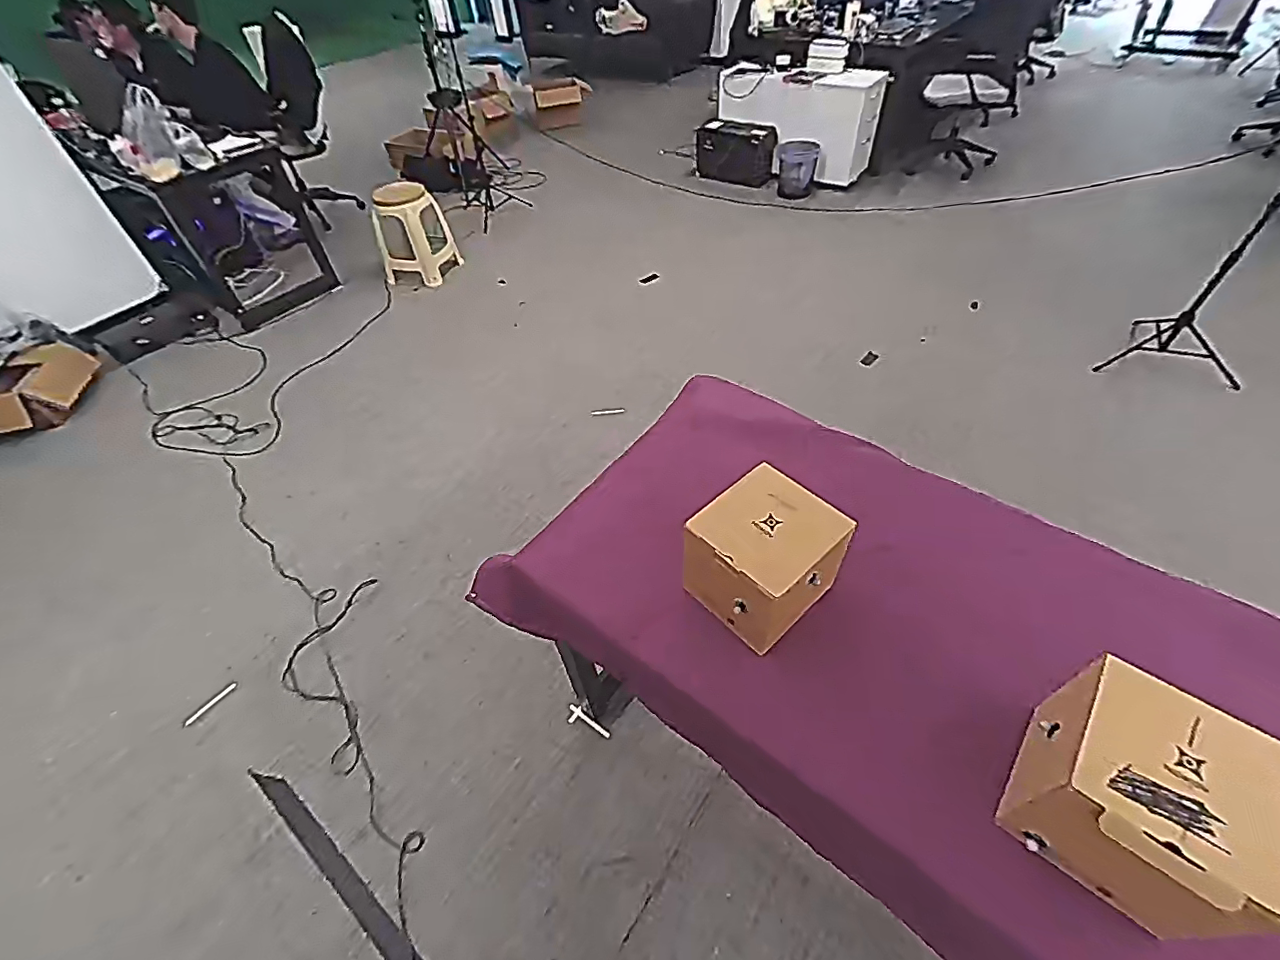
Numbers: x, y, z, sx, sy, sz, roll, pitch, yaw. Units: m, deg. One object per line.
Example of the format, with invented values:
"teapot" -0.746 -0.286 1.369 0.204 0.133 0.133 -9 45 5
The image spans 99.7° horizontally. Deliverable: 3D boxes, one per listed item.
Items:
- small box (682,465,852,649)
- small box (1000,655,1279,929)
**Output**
"small box" 0.181 0.117 0.806 0.179 0.176 0.168 -34 55 -25
"small box" 0.524 0.334 0.581 0.168 0.176 0.179 31 56 28
